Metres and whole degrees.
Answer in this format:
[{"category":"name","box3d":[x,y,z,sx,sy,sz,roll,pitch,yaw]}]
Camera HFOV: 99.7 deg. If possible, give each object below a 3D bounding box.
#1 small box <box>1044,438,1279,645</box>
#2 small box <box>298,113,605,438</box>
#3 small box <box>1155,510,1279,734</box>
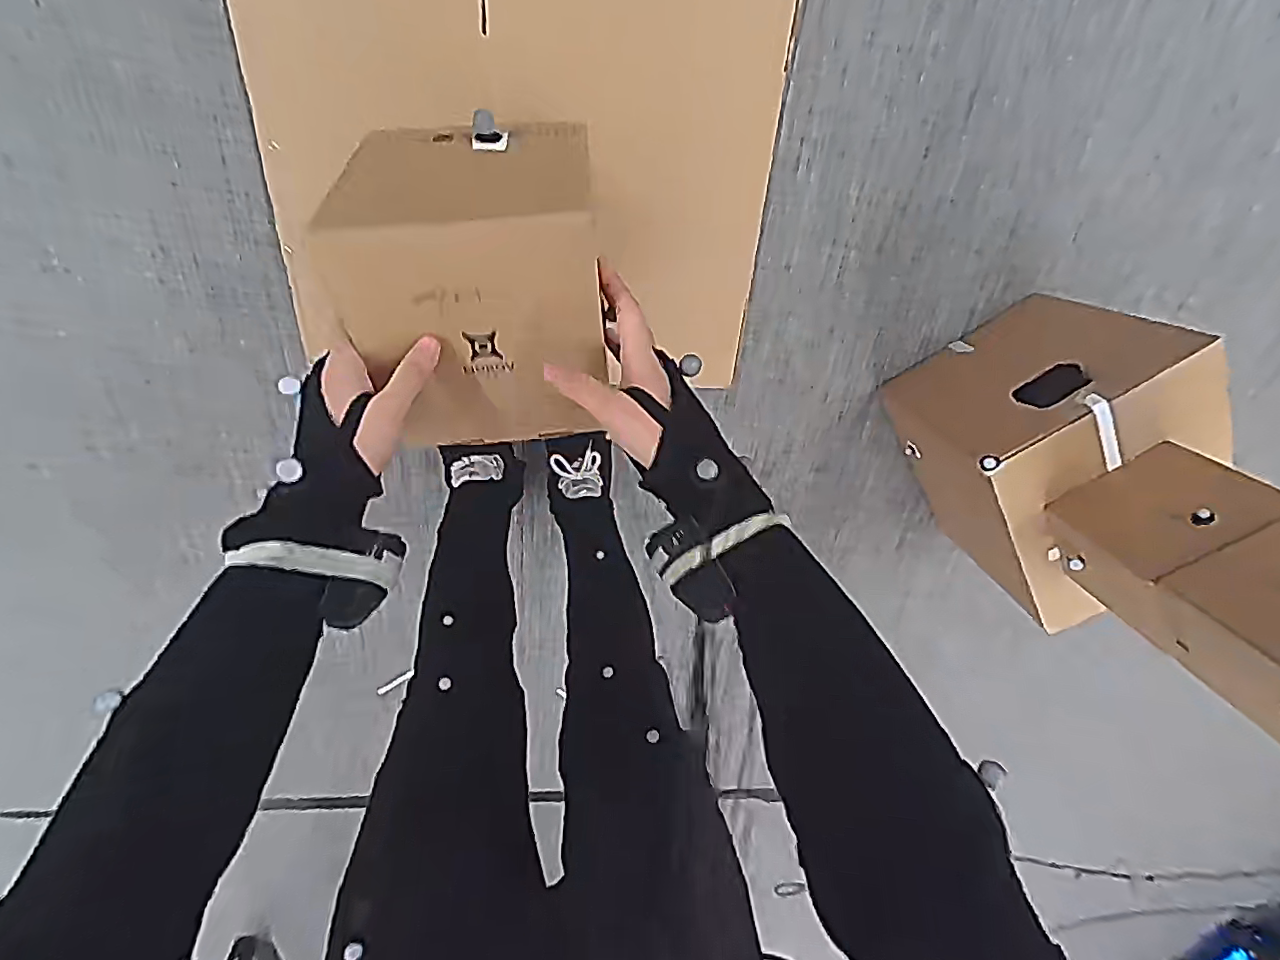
[{"category":"small box","box3d":[0.691,0.074,0.714,0.179,0.176,0.168,-33,118,12]},{"category":"small box","box3d":[-0.117,-0.158,0.422,0.168,0.176,0.179,-6,138,-3]},{"category":"small box","box3d":[0.712,0.152,0.571,0.179,0.176,0.168,-34,118,11]}]
